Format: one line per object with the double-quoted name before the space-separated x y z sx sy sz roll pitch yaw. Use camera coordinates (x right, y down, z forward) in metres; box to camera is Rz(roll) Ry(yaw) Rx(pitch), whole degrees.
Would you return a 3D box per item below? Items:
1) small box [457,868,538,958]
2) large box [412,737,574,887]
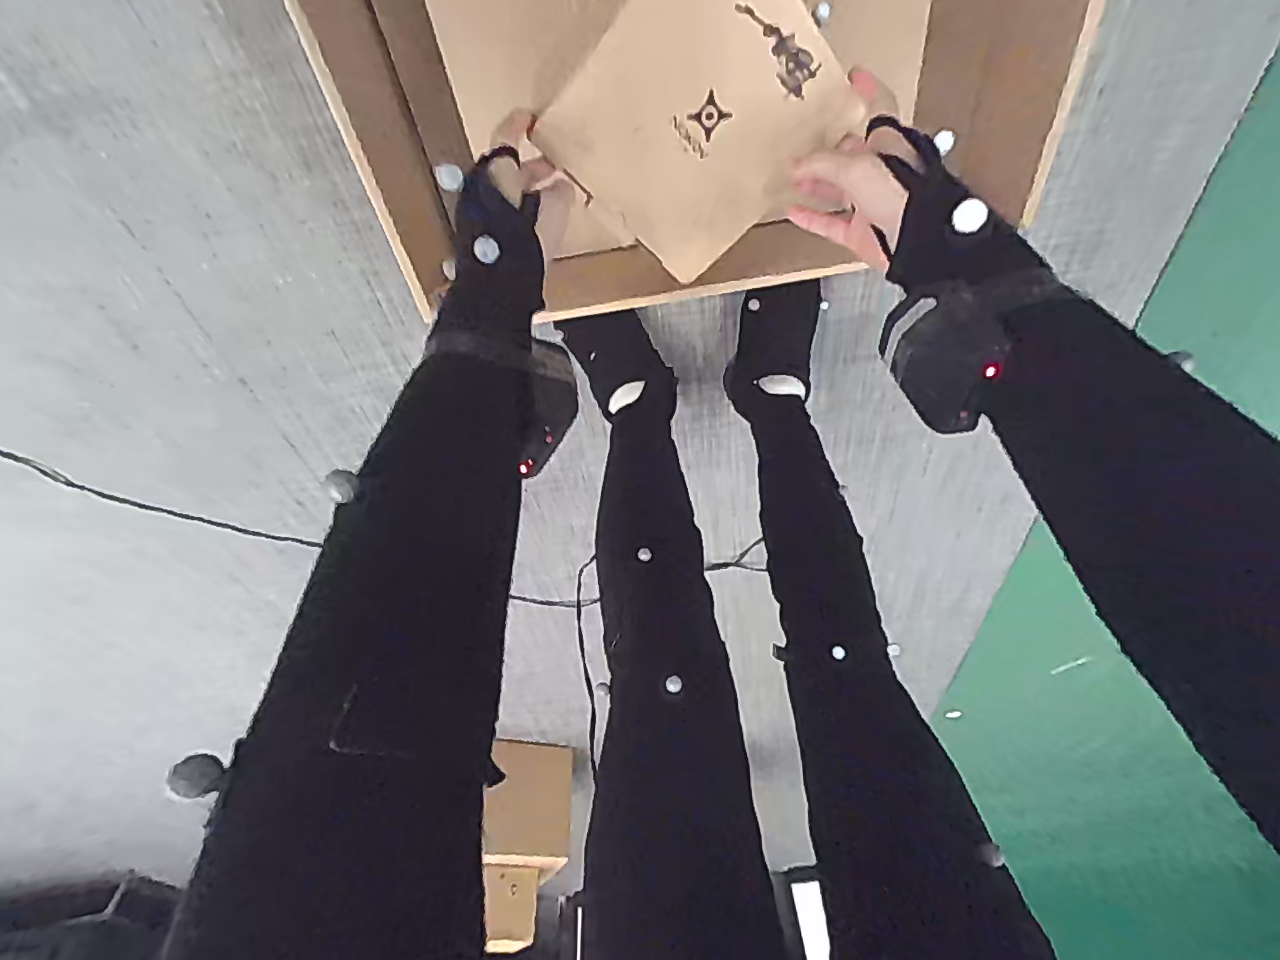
"small box" -0.392 1.208 1.507 0.168 0.176 0.179 18 129 -19
"large box" -0.441 1.029 1.670 0.408 0.320 0.320 16 129 -16
